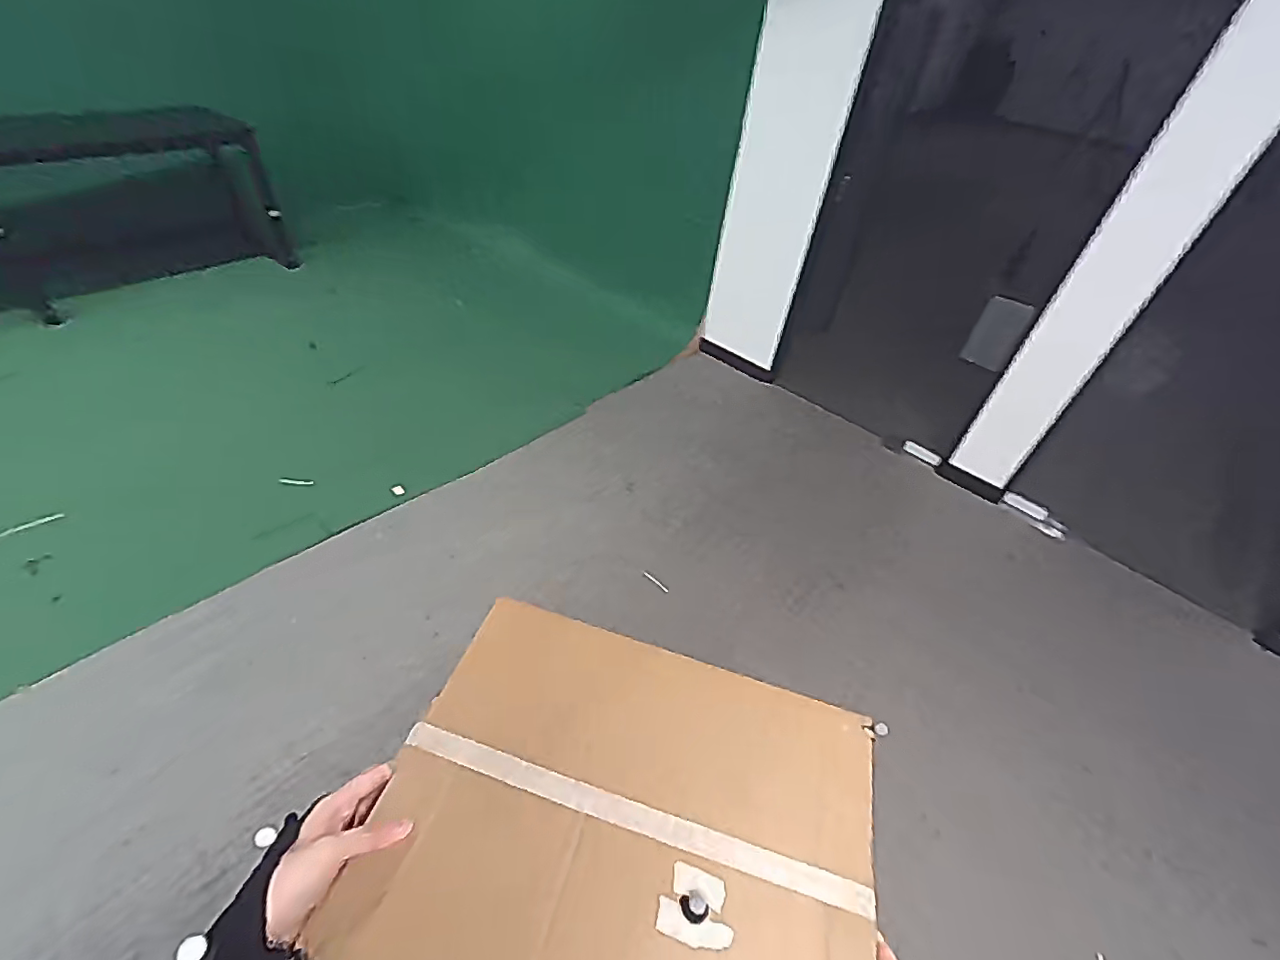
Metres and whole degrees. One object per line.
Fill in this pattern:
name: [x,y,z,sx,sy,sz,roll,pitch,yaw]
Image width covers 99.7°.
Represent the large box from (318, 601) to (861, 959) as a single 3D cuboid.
large box: [-0.025,0.388,0.575,0.408,0.320,0.320,16,45,7]
